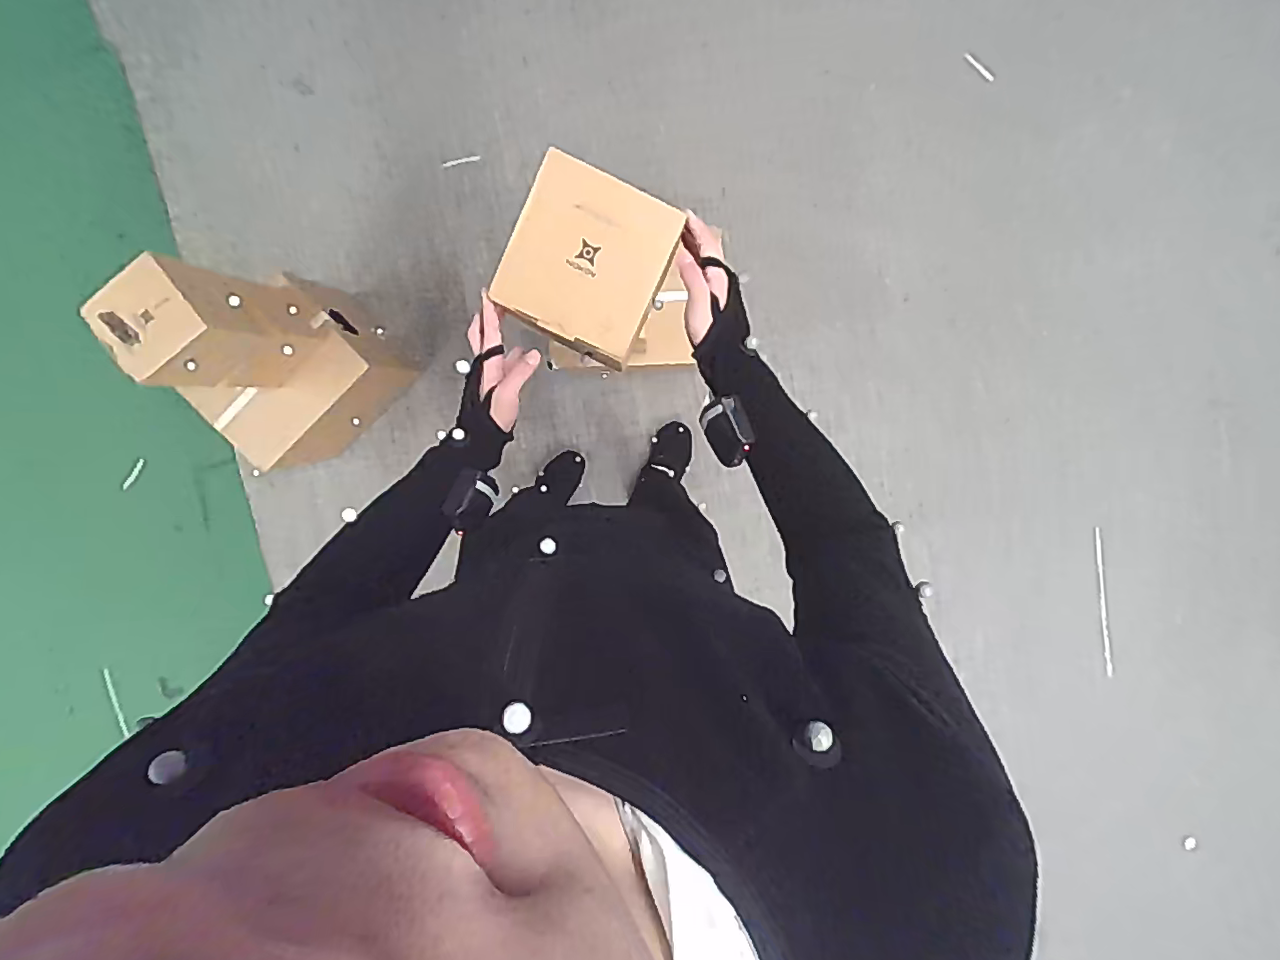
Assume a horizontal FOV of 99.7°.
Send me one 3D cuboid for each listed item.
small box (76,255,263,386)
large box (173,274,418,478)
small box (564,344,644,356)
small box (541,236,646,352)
[{"bbox_3d":[-0.889,-0.293,1.040,0.179,0.176,0.168,-36,96,6],"label":"small box"},{"bbox_3d":[-0.896,-0.271,1.459,0.408,0.320,0.320,-42,94,8],"label":"large box"},{"bbox_3d":[-0.079,-0.363,1.175,0.168,0.176,0.179,-4,100,2],"label":"small box"},{"bbox_3d":[-0.079,-0.337,1.014,0.168,0.176,0.179,-5,98,3],"label":"small box"}]
